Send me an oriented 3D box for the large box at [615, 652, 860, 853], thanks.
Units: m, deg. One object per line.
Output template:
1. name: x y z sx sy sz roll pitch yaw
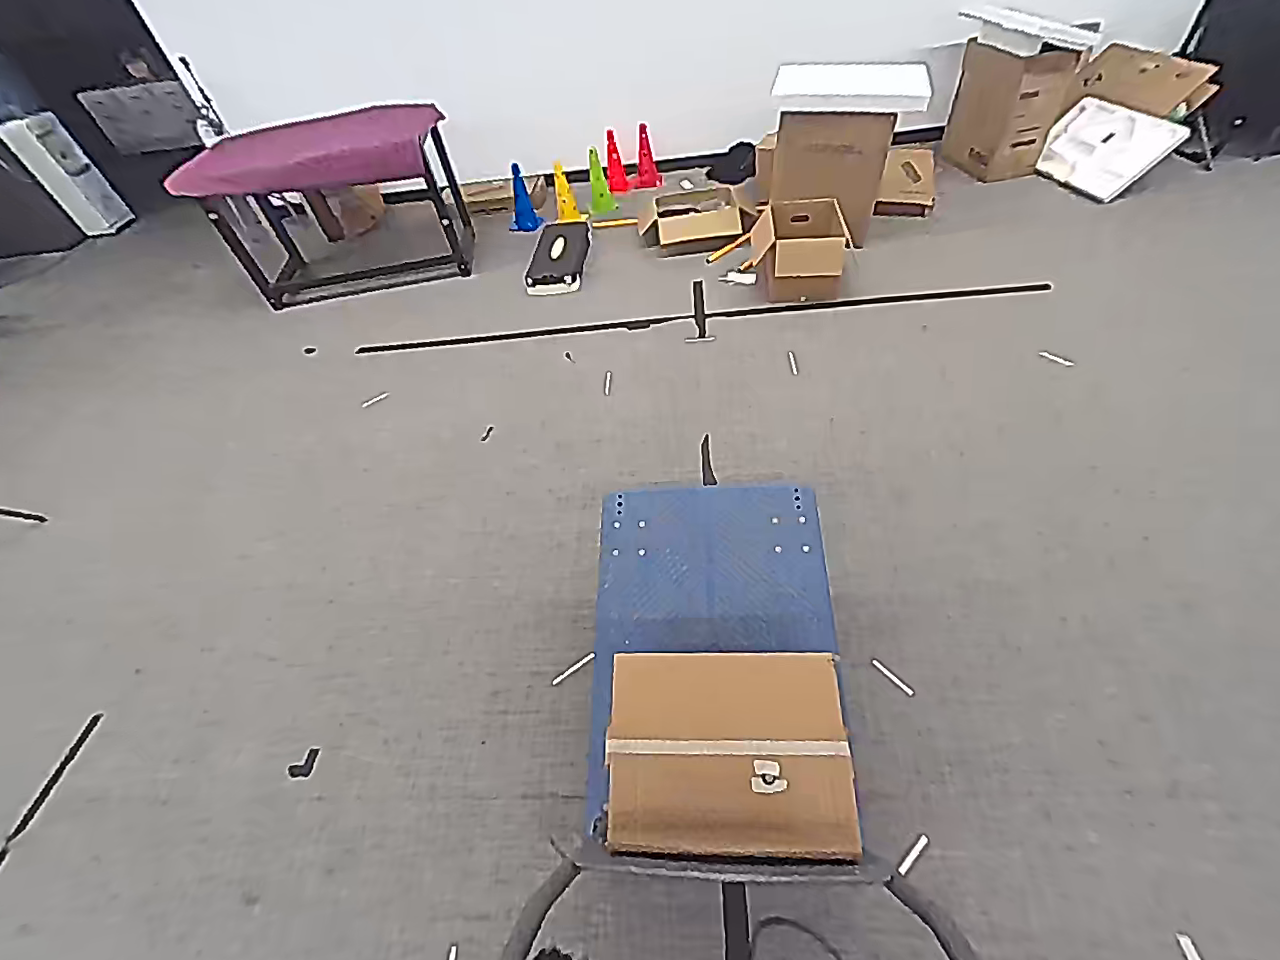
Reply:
1. large box: 0.167 0.532 1.075 0.408 0.320 0.320 -3 64 5
